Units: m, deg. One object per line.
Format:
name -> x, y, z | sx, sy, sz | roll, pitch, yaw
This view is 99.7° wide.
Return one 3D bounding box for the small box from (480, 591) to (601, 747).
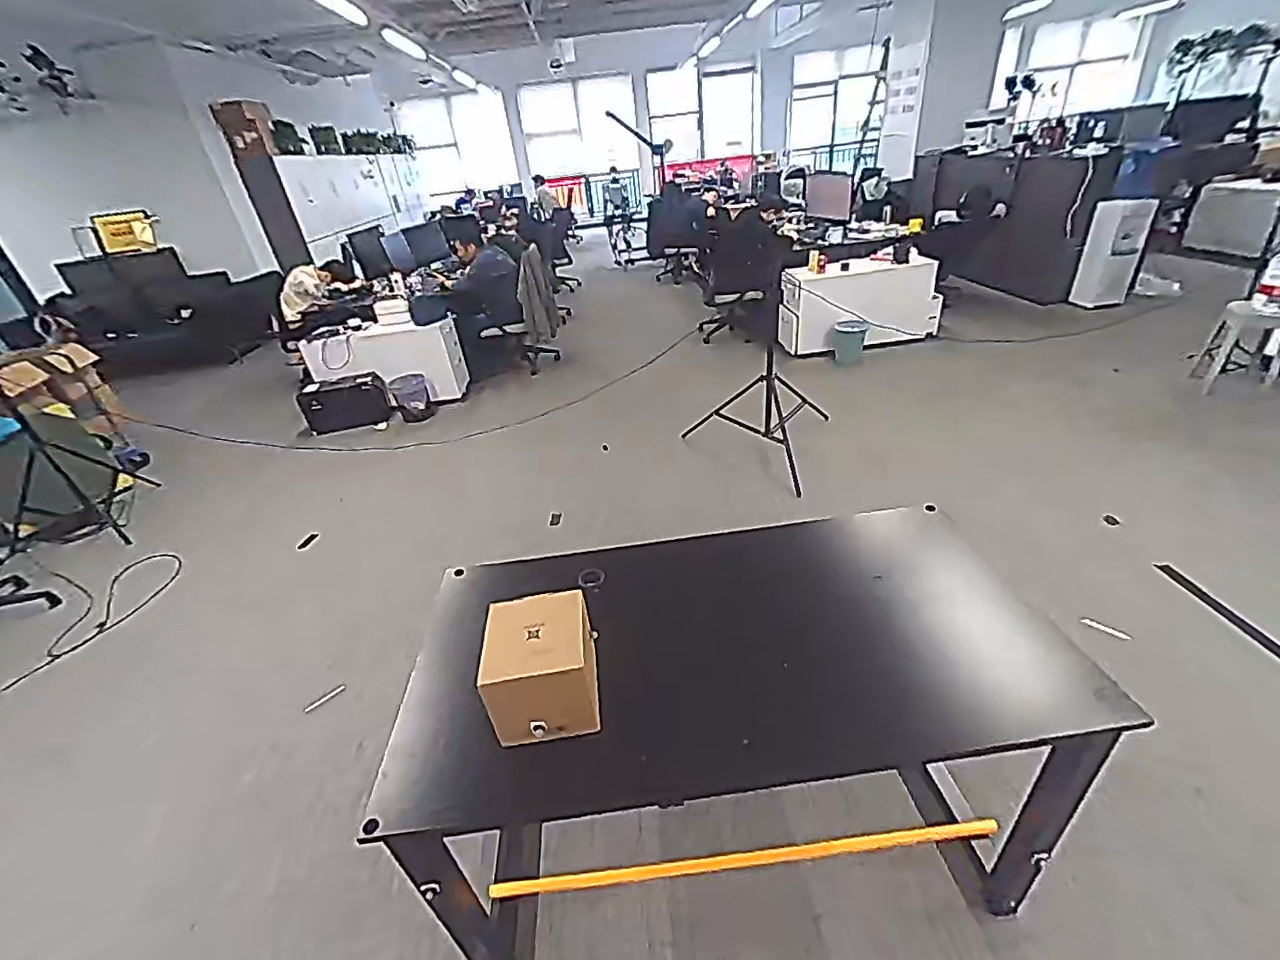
small box -> -0.163, 0.322, 0.932 | 0.168, 0.176, 0.179 | -10, 32, -3
